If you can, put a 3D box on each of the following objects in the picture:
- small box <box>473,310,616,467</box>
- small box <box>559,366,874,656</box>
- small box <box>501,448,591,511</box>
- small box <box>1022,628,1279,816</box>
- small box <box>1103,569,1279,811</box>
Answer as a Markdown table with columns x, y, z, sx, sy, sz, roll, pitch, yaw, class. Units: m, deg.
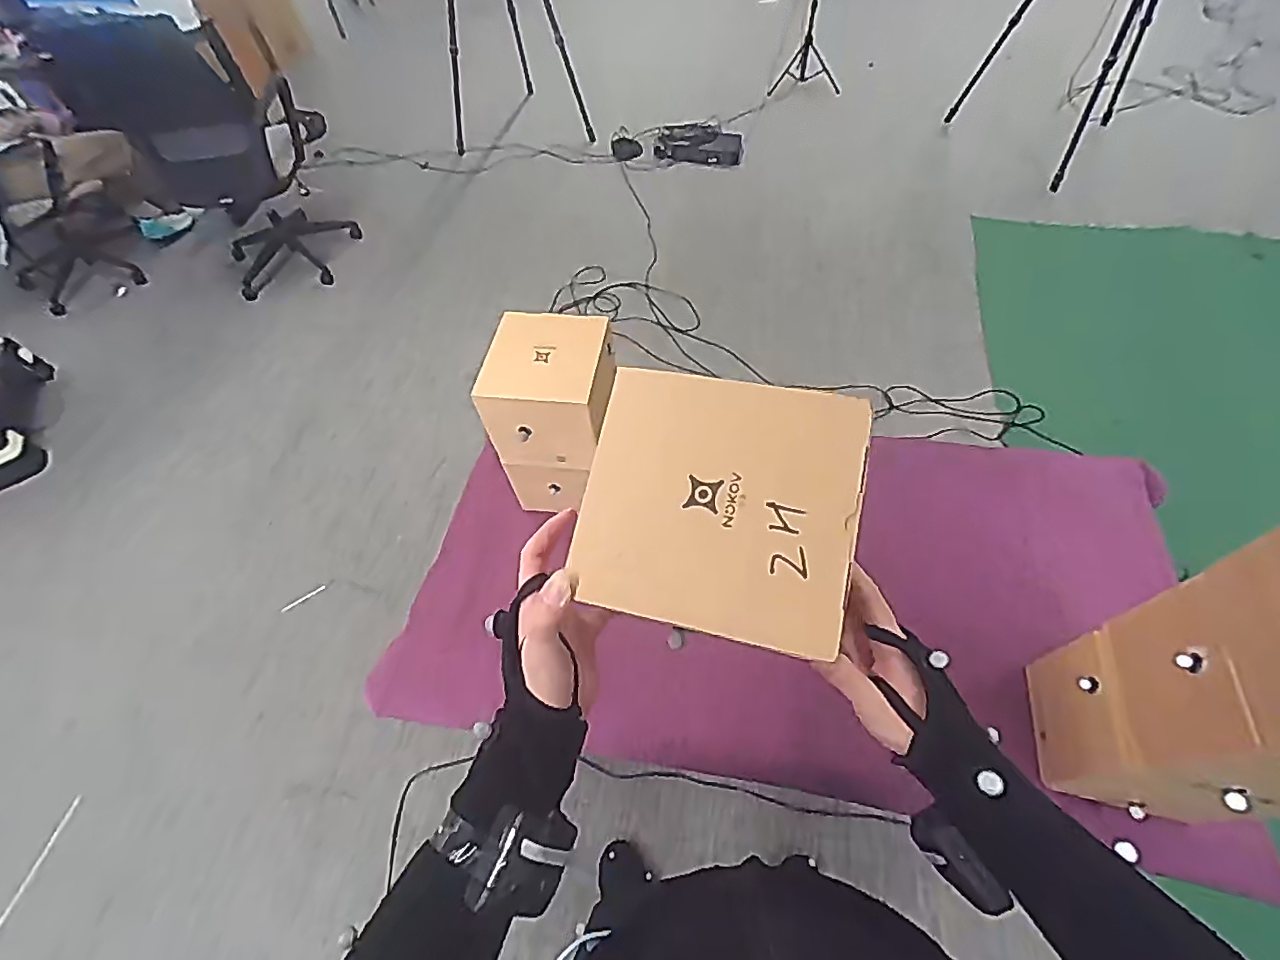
| x | y | z | sx | sy | sz | roll | pitch | yaw | class |
| --- | --- | --- | --- | --- | --- | --- | --- | --- | --- |
| -0.132 | -0.137 | 0.838 | 0.168 | 0.176 | 0.179 | 5 | 57 | 7 | small box |
| 0.063 | 0.032 | 0.424 | 0.179 | 0.176 | 0.168 | 12 | 78 | 13 | small box |
| -0.126 | -0.054 | 0.977 | 0.179 | 0.176 | 0.168 | 4 | 58 | 7 | small box |
| 0.632 | 0.311 | 0.688 | 0.179 | 0.176 | 0.168 | 11 | 57 | 11 | small box |
| 0.625 | 0.218 | 0.554 | 0.168 | 0.176 | 0.179 | 10 | 58 | 12 | small box |
